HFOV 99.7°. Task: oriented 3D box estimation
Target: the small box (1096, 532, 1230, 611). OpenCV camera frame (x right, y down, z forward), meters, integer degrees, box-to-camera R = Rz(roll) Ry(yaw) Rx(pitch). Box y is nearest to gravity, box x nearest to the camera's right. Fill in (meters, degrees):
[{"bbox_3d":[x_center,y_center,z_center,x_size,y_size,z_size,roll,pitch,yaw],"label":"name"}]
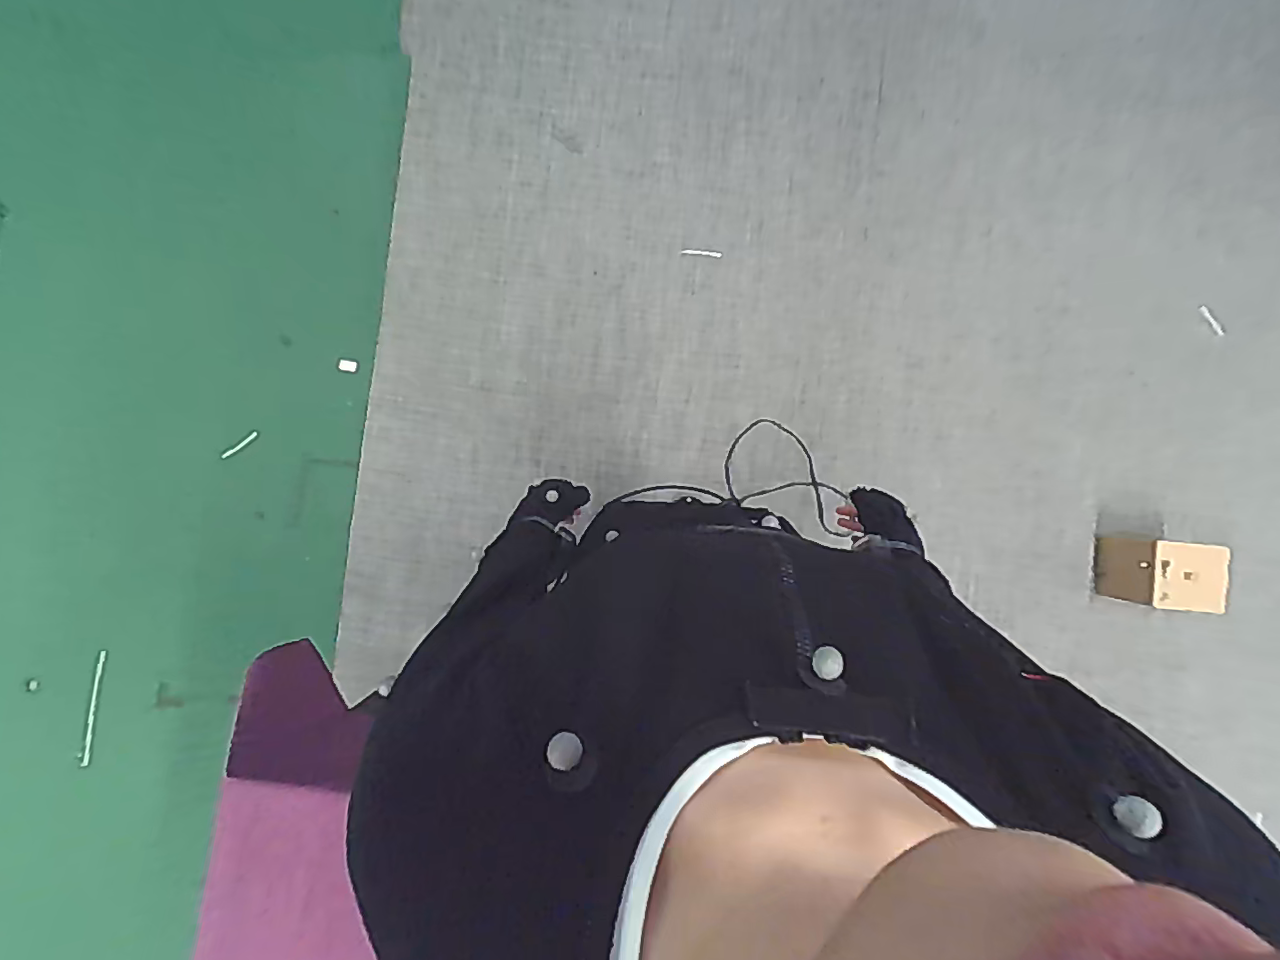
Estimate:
[{"bbox_3d":[1.324,0.226,1.377,0.179,0.176,0.168,6,88,0],"label":"small box"}]
